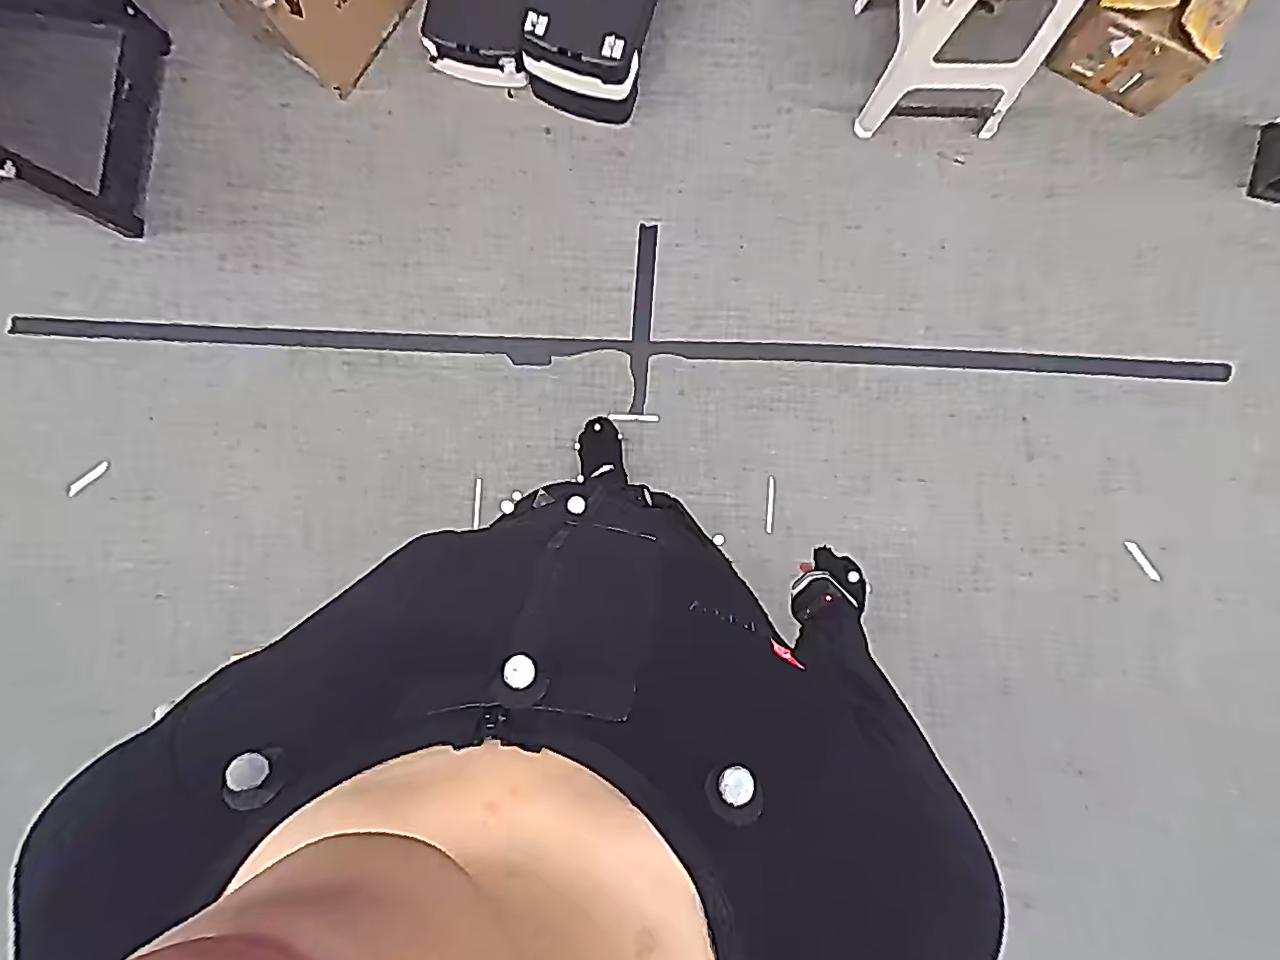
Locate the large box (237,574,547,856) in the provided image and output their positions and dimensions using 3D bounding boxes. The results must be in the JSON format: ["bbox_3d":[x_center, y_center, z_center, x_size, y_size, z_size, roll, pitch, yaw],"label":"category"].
[{"bbox_3d":[-0.388,0.362,0.950,0.320,0.408,0.320,-17,82,4],"label":"large box"}]
